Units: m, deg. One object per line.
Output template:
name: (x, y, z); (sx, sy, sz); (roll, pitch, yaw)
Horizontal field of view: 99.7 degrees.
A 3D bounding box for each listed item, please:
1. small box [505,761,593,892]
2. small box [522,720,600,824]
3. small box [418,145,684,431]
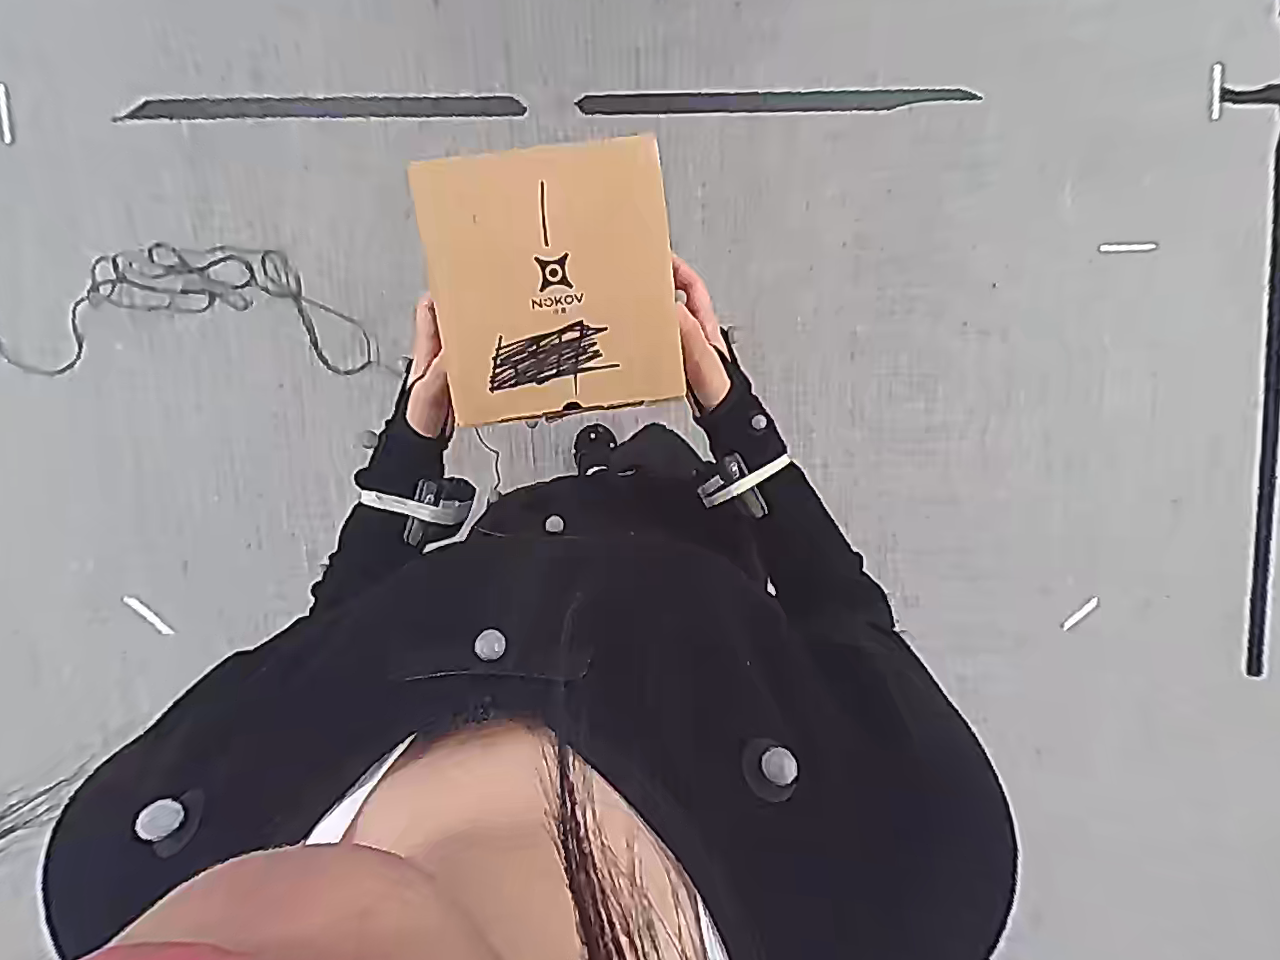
small box: (-0.185, 0.711, 1.131); (0.168, 0.176, 0.179); (-1, 94, -2)
small box: (-0.183, 0.694, 1.294); (0.179, 0.176, 0.168); (0, 94, -3)
small box: (-0.060, -0.142, 0.448); (0.168, 0.176, 0.179); (-7, 99, -2)
